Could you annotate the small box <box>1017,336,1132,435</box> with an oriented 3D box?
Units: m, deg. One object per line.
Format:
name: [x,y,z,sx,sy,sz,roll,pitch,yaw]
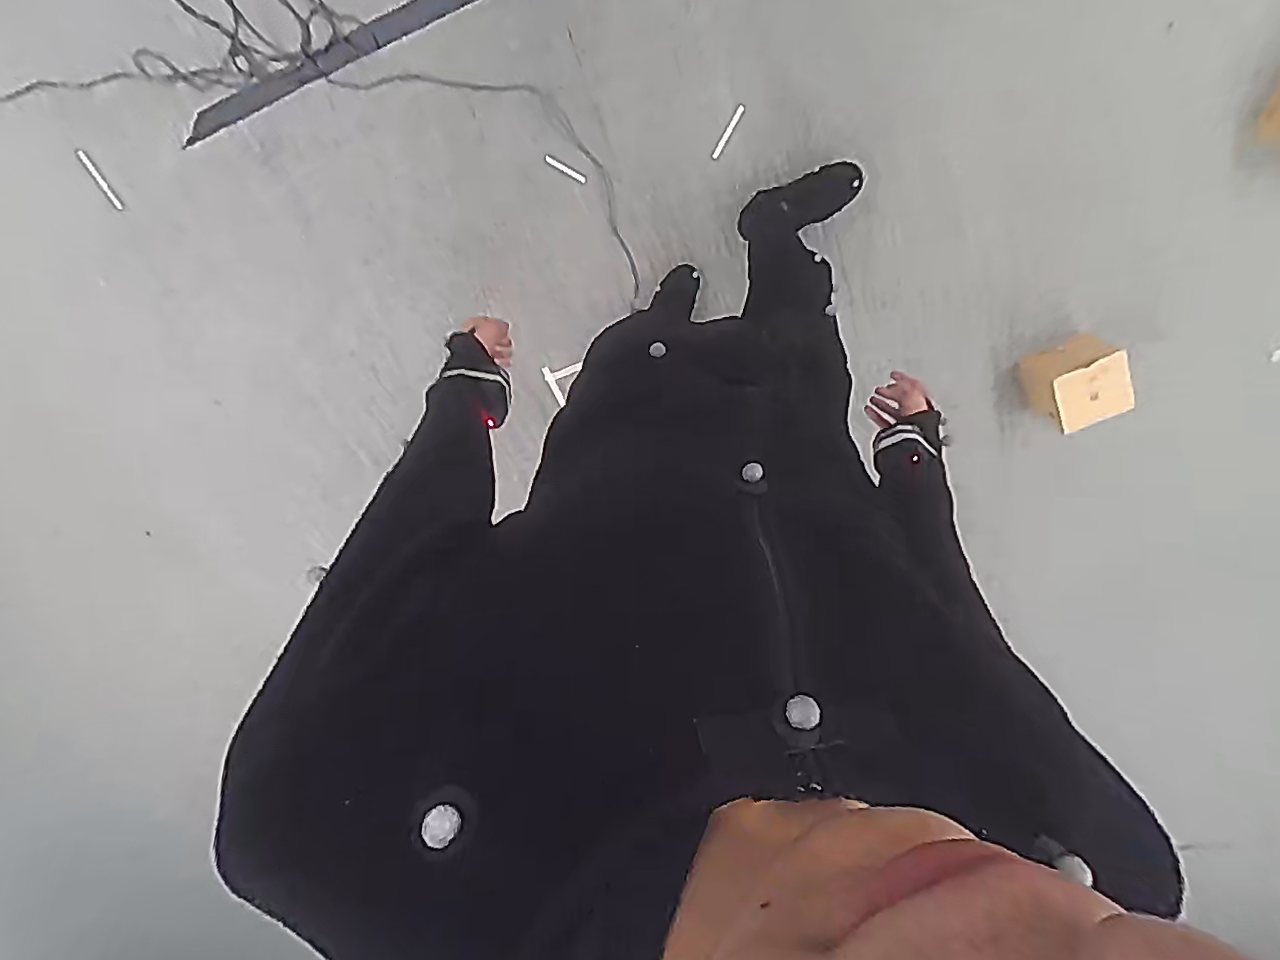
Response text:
small box: [1.143,-0.254,1.429,0.168,0.176,0.179,-26,114,17]
